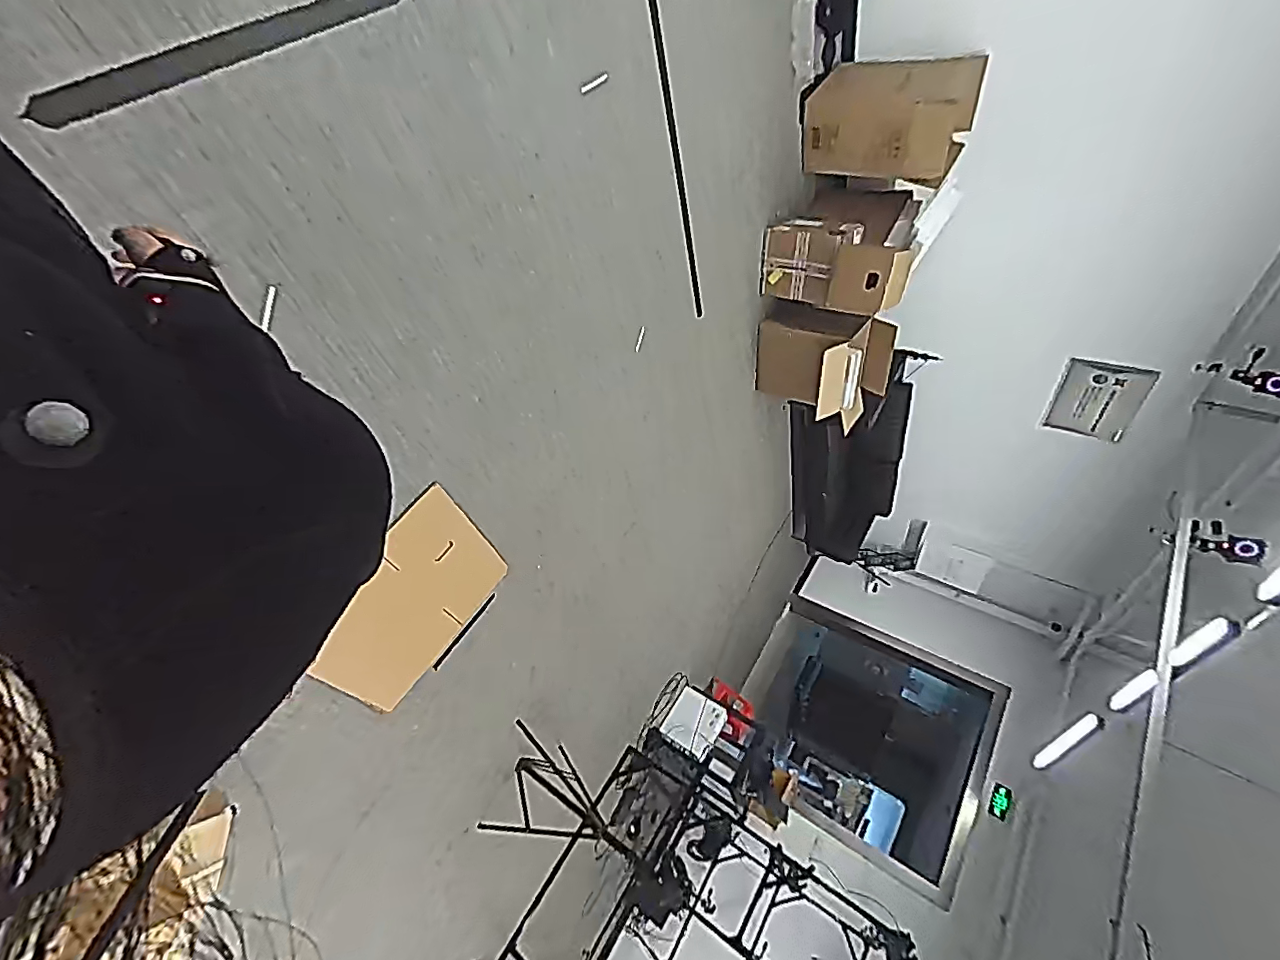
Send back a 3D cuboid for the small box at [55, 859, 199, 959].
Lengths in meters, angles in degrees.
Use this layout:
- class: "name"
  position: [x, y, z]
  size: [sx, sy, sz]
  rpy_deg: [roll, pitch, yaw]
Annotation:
- class: "small box"
  position: [-1.061, 0.944, 1.120]
  size: [0.179, 0.176, 0.168]
  rpy_deg: [0, 106, -57]
